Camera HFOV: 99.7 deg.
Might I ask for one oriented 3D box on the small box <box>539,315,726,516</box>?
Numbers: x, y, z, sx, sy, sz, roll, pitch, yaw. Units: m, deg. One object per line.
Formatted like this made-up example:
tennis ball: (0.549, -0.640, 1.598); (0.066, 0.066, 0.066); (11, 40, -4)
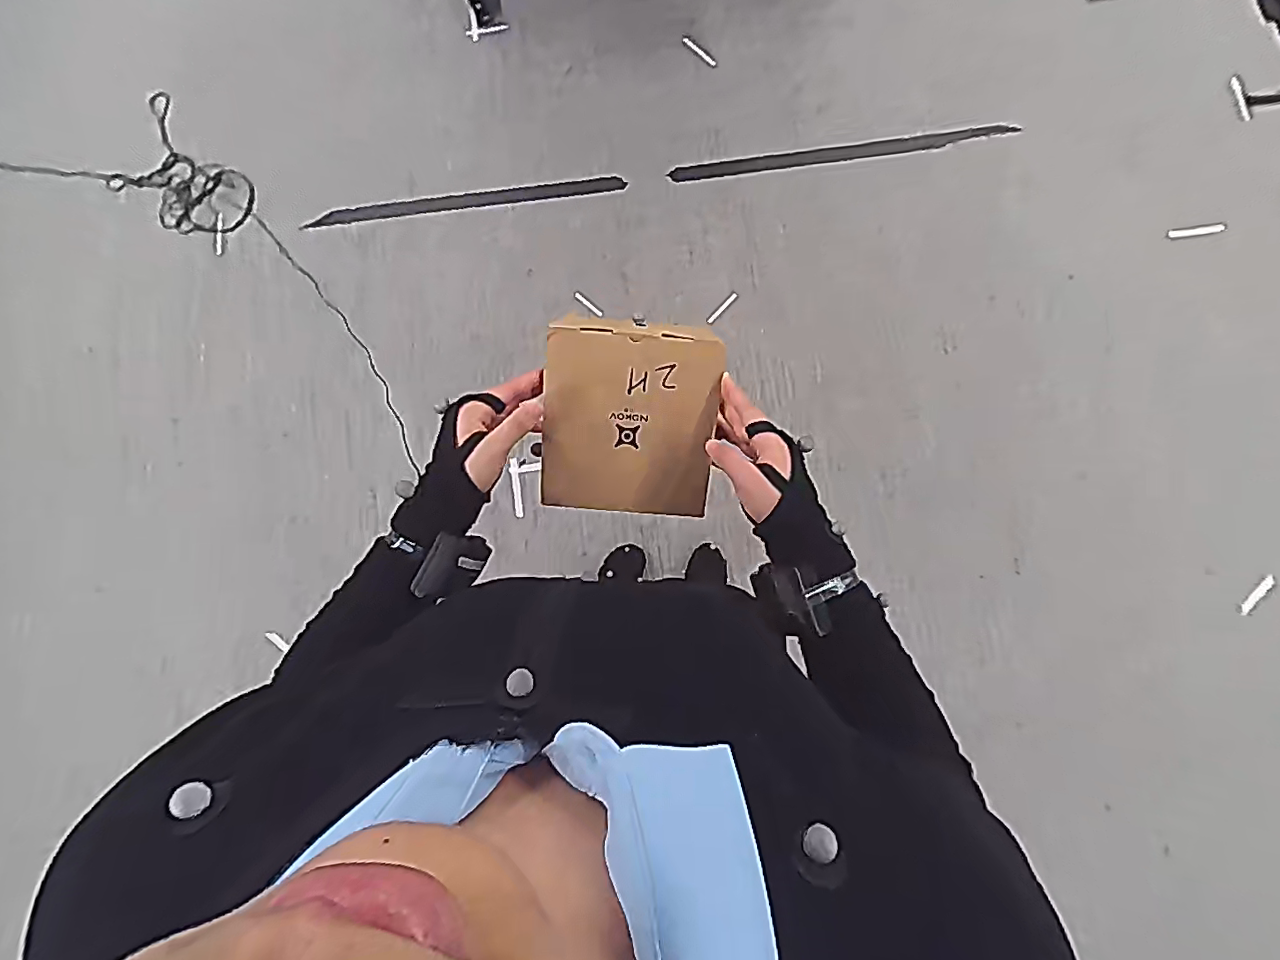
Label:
small box: (-0.011, -0.078, 0.583); (0.168, 0.176, 0.179); (4, 108, -2)
